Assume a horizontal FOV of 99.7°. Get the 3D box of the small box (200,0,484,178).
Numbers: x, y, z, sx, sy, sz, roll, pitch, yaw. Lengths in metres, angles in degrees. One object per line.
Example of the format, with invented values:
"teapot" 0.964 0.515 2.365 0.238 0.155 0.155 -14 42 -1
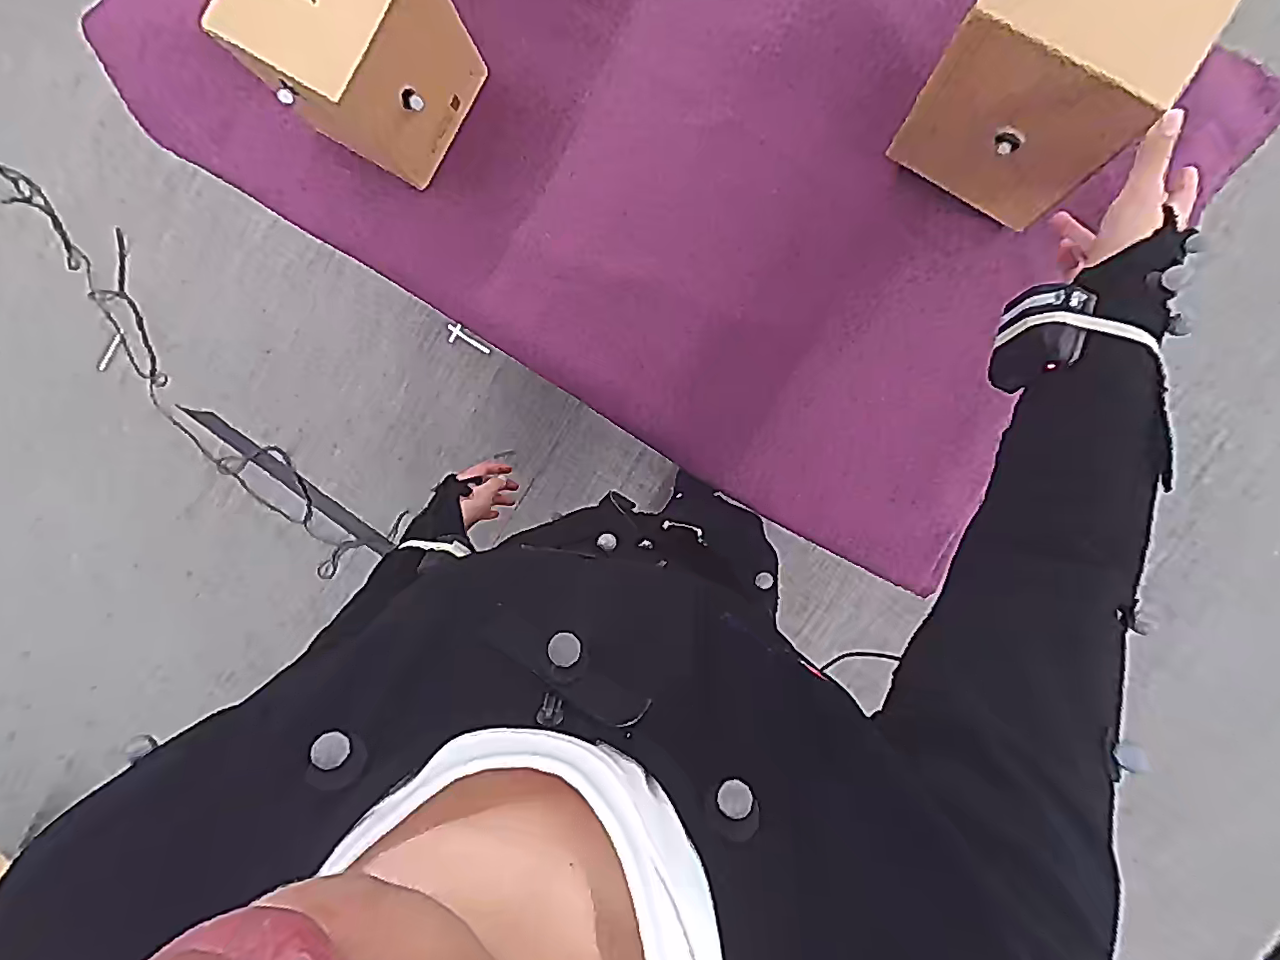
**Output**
"small box" -0.303 -0.470 0.589 0.179 0.176 0.168 32 95 6
